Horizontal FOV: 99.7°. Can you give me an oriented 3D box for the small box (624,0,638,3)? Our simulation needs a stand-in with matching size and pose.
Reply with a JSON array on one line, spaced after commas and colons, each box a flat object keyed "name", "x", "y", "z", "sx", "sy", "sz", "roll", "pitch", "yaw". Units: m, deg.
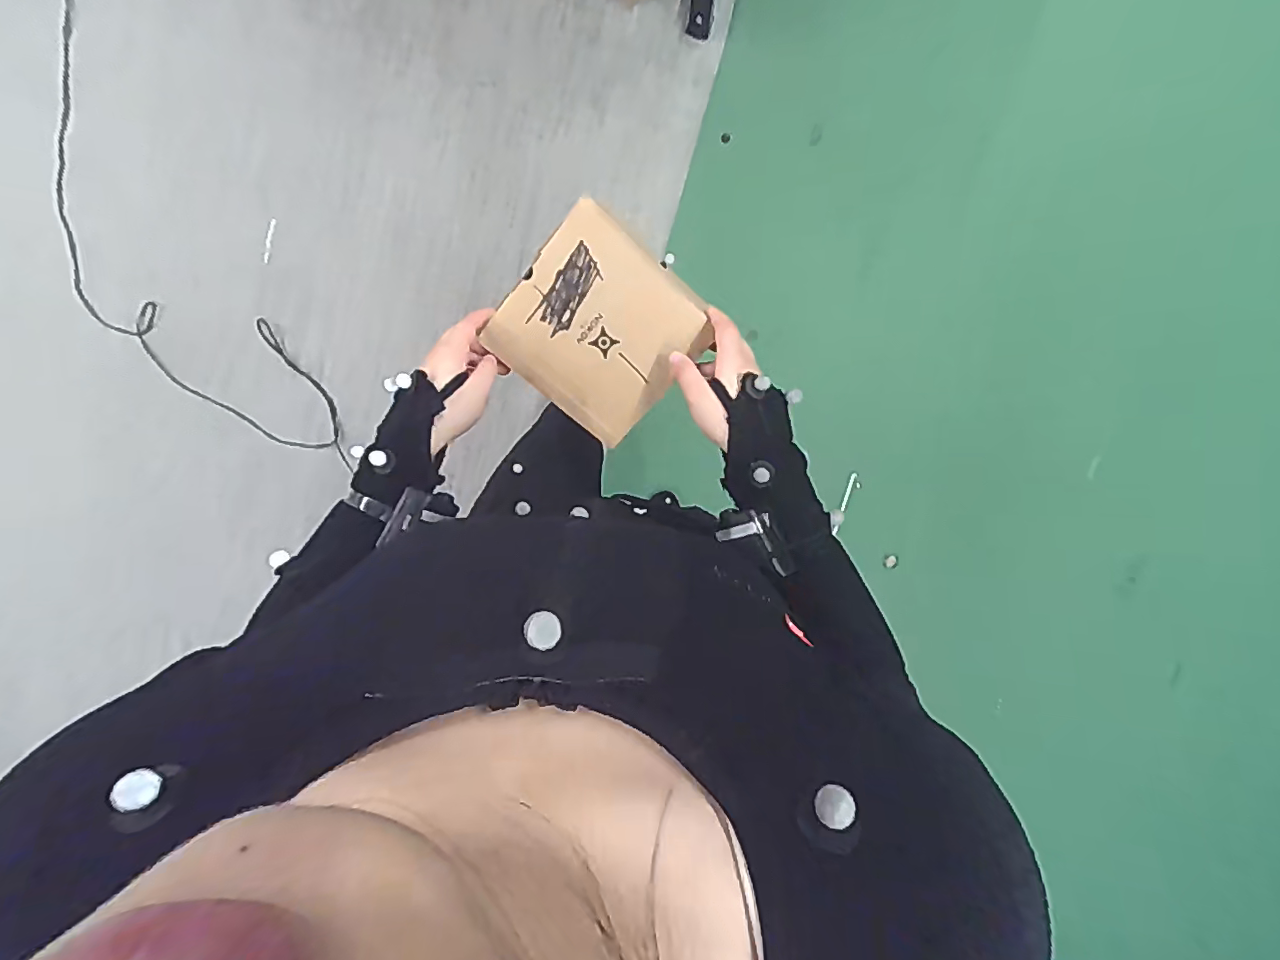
[{"name": "small box", "x": -0.065, "y": -1.232, "z": 1.213, "sx": 0.168, "sy": 0.176, "sz": 0.179, "roll": 10, "pitch": 98, "yaw": -1}]

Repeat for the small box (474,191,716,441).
[{"name": "small box", "x": -0.043, "y": -0.178, "z": 0.589, "sx": 0.179, "sy": 0.176, "sz": 0.168, "roll": 39, "pitch": 110, "yaw": -16}]
